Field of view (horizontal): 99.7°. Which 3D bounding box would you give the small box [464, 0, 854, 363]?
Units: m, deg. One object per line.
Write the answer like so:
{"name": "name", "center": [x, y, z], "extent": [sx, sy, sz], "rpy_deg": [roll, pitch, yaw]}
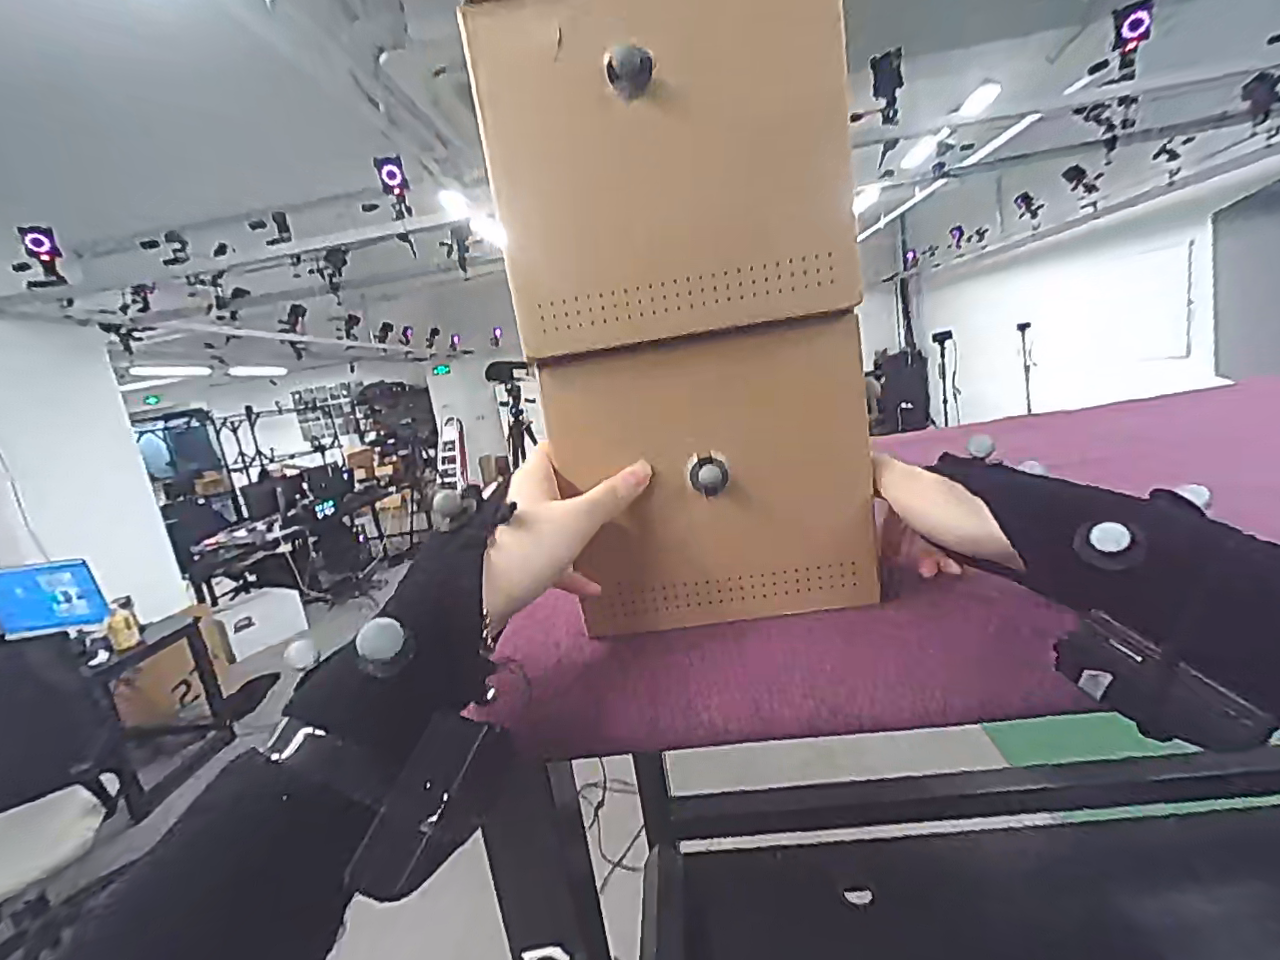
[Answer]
{"name": "small box", "center": [0.018, -0.168, 0.339], "extent": [0.179, 0.176, 0.168], "rpy_deg": [-7, 11, 4]}
